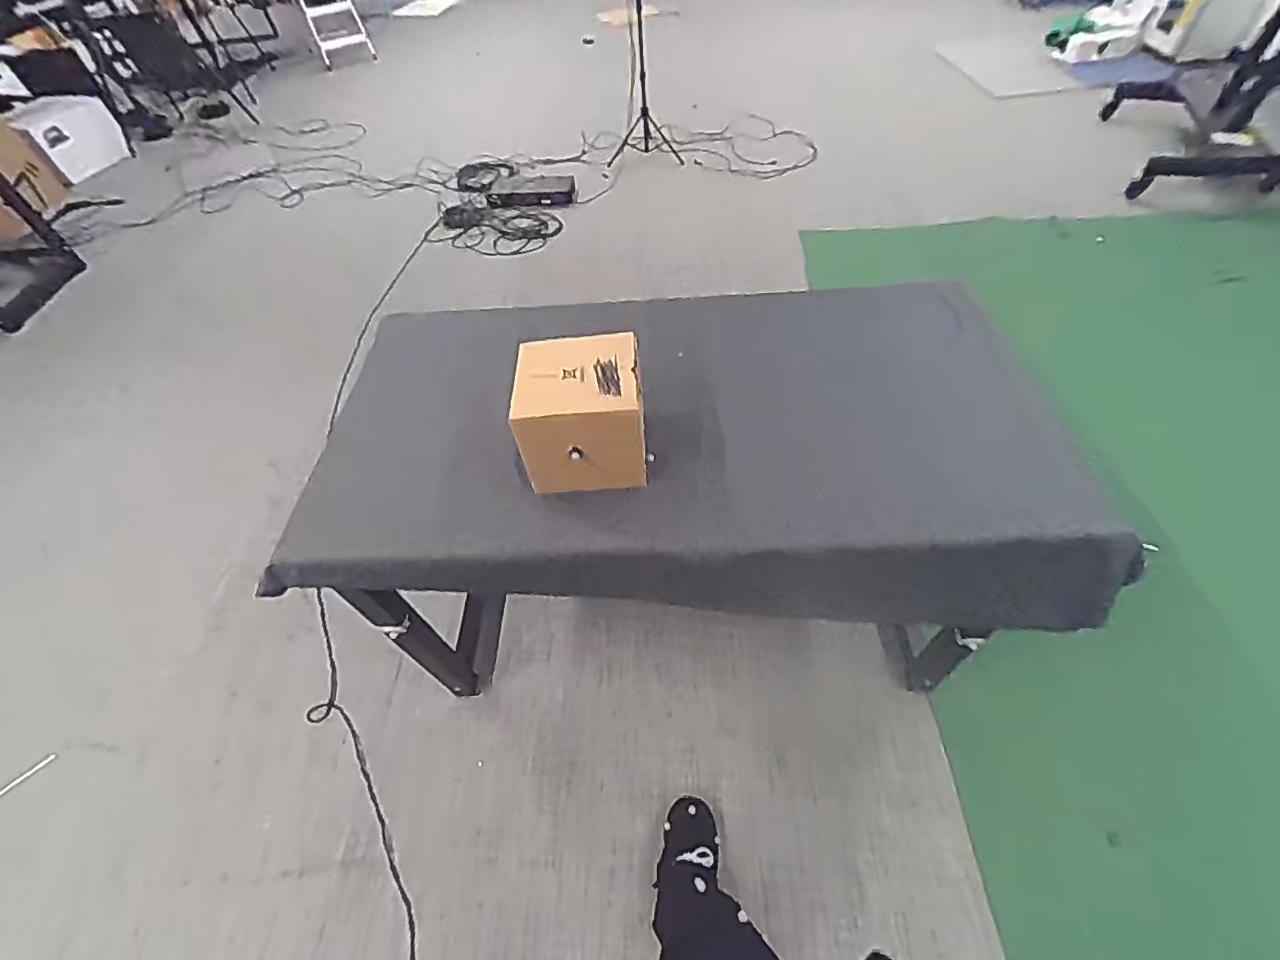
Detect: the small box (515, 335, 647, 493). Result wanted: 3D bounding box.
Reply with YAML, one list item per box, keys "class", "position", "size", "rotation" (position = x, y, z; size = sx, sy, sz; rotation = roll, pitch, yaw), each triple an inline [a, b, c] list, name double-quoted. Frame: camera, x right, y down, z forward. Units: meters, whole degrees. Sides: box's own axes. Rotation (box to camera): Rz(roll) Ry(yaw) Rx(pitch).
- class: "small box"
  position: [-0.082, -0.097, 0.824]
  size: [0.179, 0.176, 0.168]
  rotation: [-6, 53, -1]
